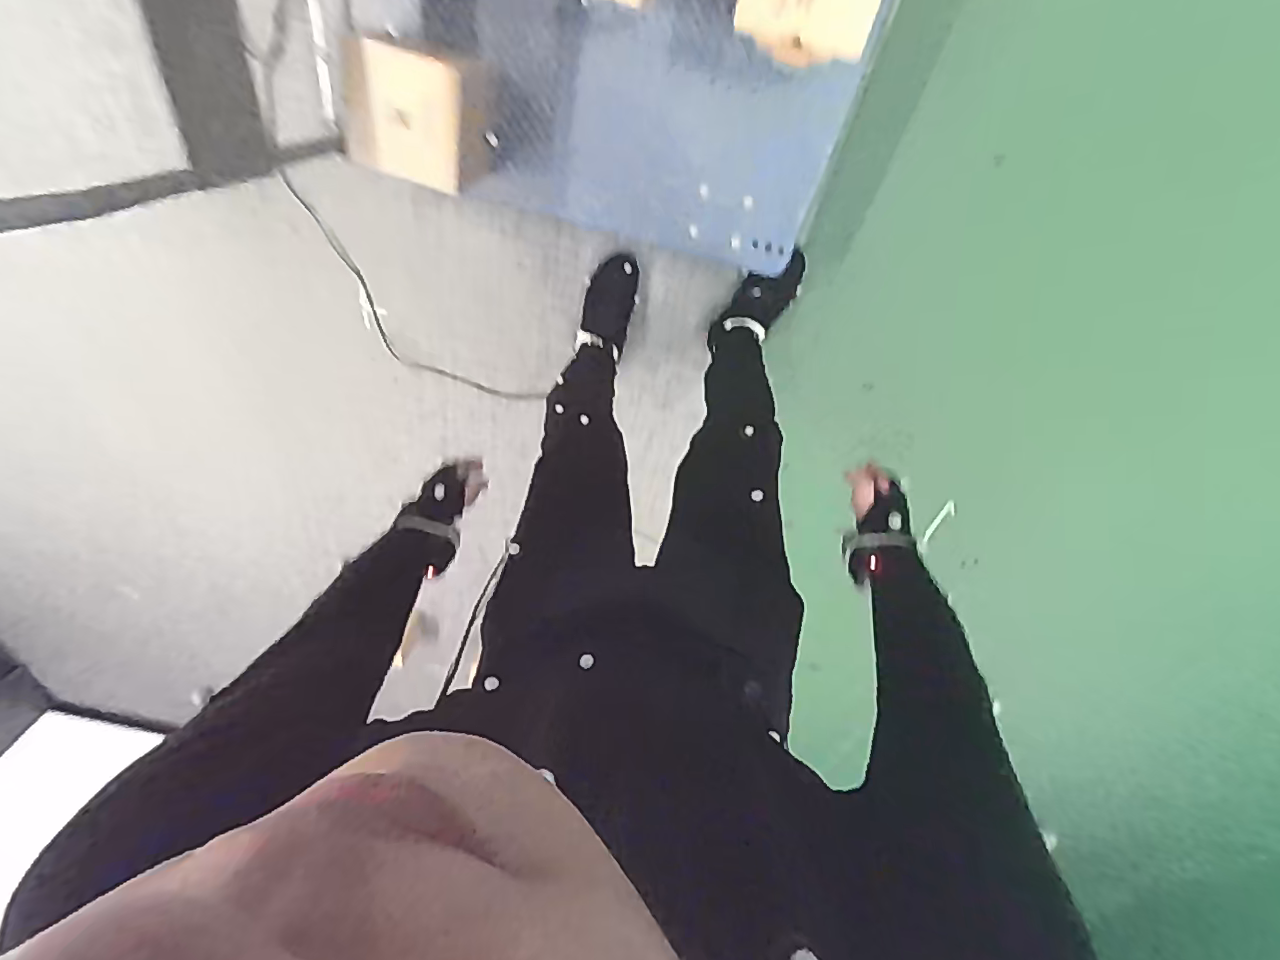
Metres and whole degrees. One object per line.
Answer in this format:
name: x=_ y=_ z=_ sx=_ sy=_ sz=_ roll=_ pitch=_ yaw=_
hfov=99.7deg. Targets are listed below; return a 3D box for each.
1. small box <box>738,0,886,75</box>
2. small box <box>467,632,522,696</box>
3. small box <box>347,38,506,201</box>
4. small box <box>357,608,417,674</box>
small box: x=0.229 y=-0.652 z=0.698 sx=0.168 sy=0.176 sz=0.179 roll=15 pitch=129 yaw=-1
small box: x=-0.592 y=0.750 z=2.216 sx=0.168 sy=0.176 sz=0.179 roll=19 pitch=130 yaw=-4
small box: x=-0.332 y=-0.573 z=0.862 sx=0.179 sy=0.176 sz=0.168 roll=16 pitch=129 yaw=-4
small box: x=-1.016 y=0.646 z=2.184 sx=0.168 sy=0.176 sz=0.179 roll=16 pitch=128 yaw=-3
